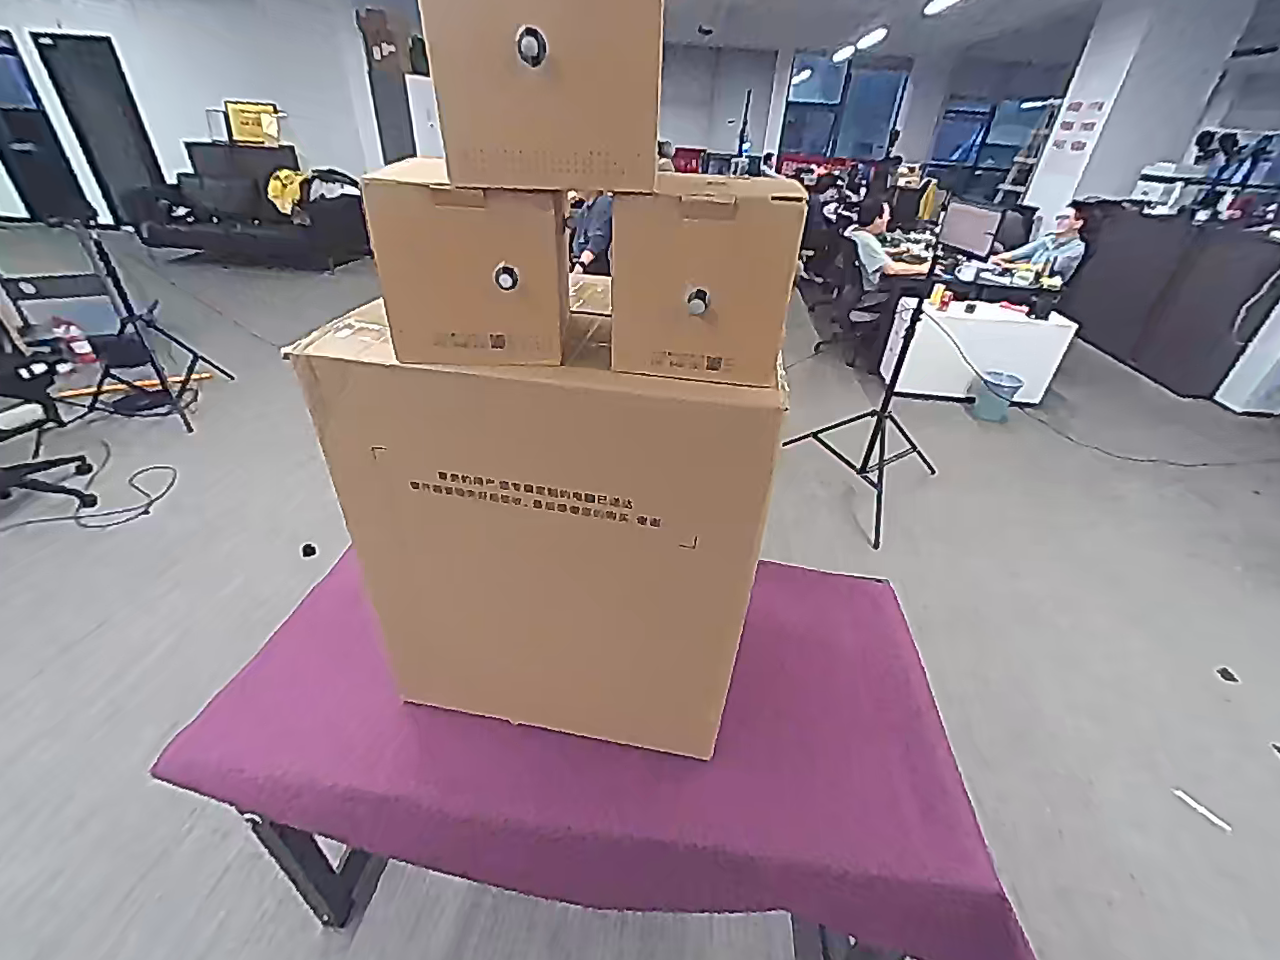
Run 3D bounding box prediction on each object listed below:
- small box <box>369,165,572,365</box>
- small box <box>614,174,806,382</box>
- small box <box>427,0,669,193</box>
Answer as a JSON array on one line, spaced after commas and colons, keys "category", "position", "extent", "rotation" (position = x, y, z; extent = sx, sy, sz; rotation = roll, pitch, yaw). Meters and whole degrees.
[{"category": "small box", "position": [-0.161, -0.232, 0.580], "extent": [0.168, 0.176, 0.179], "rotation": [1, 33, -5]}, {"category": "small box", "position": [0.071, -0.215, 0.569], "extent": [0.168, 0.176, 0.179], "rotation": [8, 35, 7]}, {"category": "small box", "position": [-0.065, -0.354, 0.474], "extent": [0.179, 0.176, 0.168], "rotation": [1, 35, 1]}]
